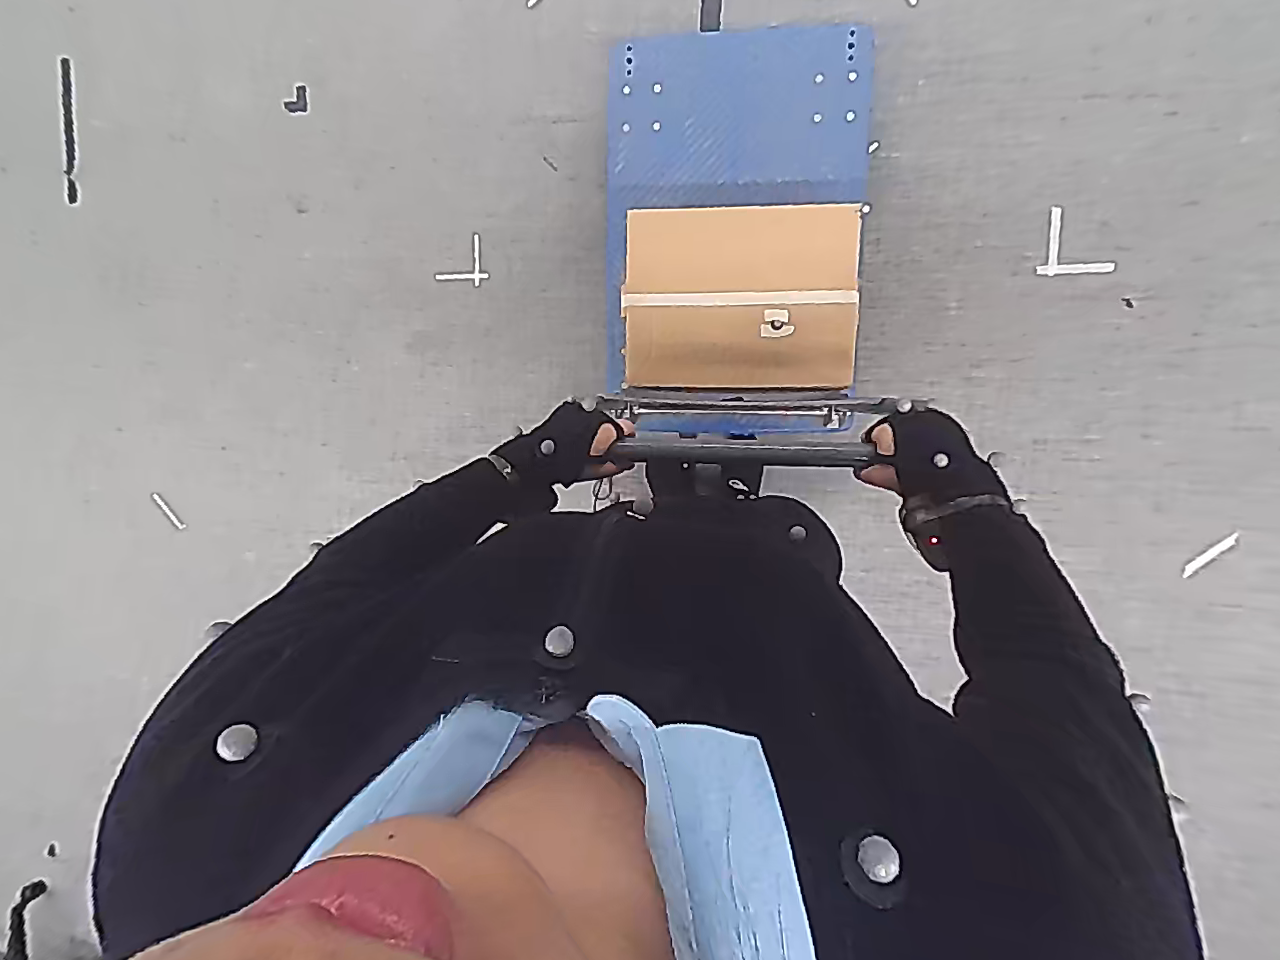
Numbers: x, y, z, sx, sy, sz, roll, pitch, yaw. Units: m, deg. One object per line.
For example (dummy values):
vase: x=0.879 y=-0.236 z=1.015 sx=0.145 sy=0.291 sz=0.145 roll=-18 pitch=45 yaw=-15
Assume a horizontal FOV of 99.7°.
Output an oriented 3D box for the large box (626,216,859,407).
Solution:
large box: x=0.187 y=-0.311 z=1.095 sx=0.408 sy=0.320 sz=0.320 roll=1 pitch=97 yaw=5
